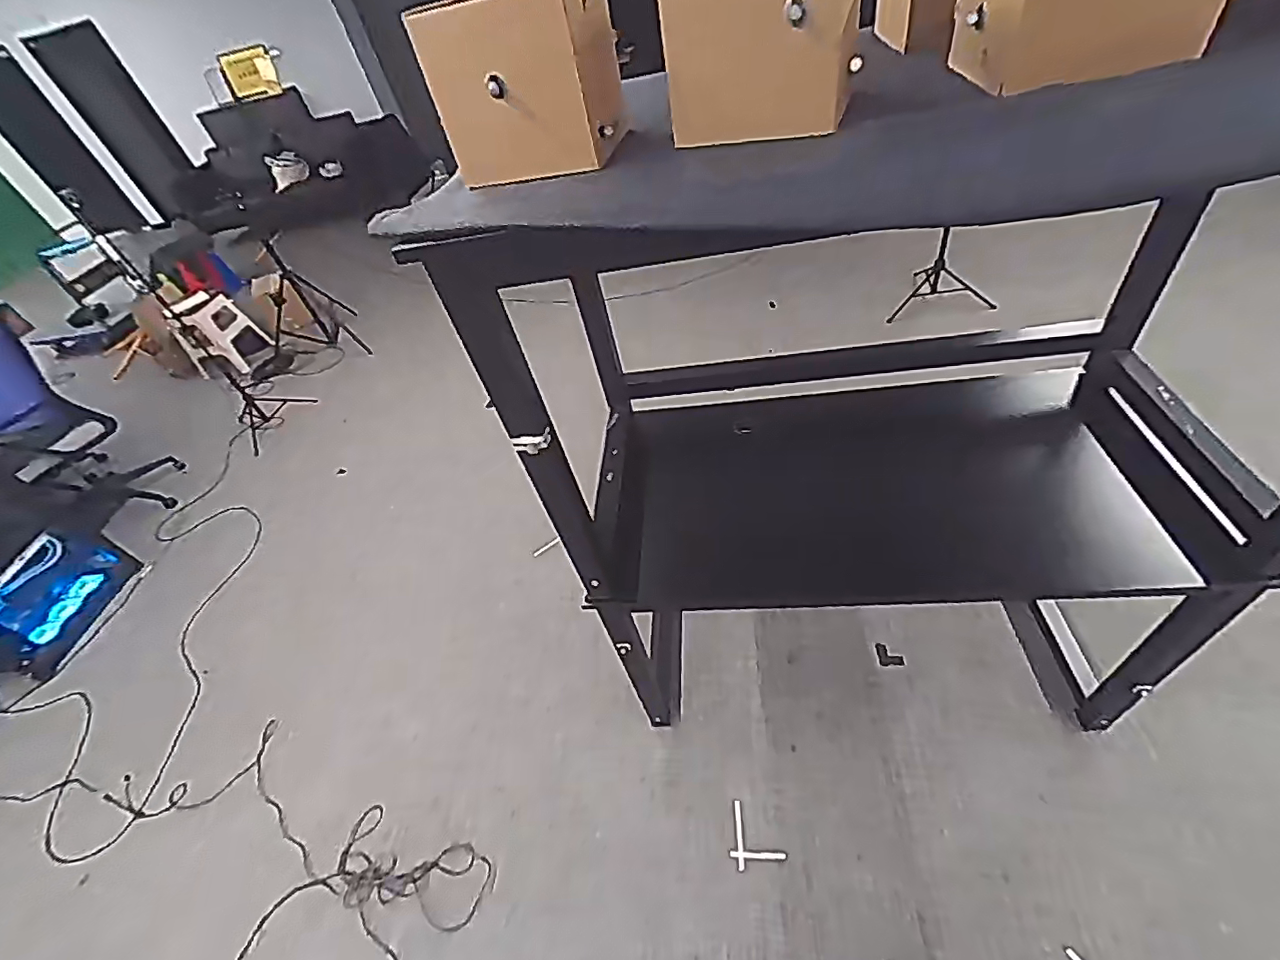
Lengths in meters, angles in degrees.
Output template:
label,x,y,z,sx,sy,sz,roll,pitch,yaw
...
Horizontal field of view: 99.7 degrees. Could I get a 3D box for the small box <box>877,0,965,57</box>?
label,x,y,z,sx,sy,sz,roll,pitch,yaw
small box,0.417,-0.676,0.700,0.168,0.176,0.179,-5,46,11

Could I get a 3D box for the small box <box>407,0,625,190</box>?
label,x,y,z,sx,sy,sz,roll,pitch,yaw
small box,-0.126,-0.466,0.637,0.179,0.176,0.168,0,46,15
